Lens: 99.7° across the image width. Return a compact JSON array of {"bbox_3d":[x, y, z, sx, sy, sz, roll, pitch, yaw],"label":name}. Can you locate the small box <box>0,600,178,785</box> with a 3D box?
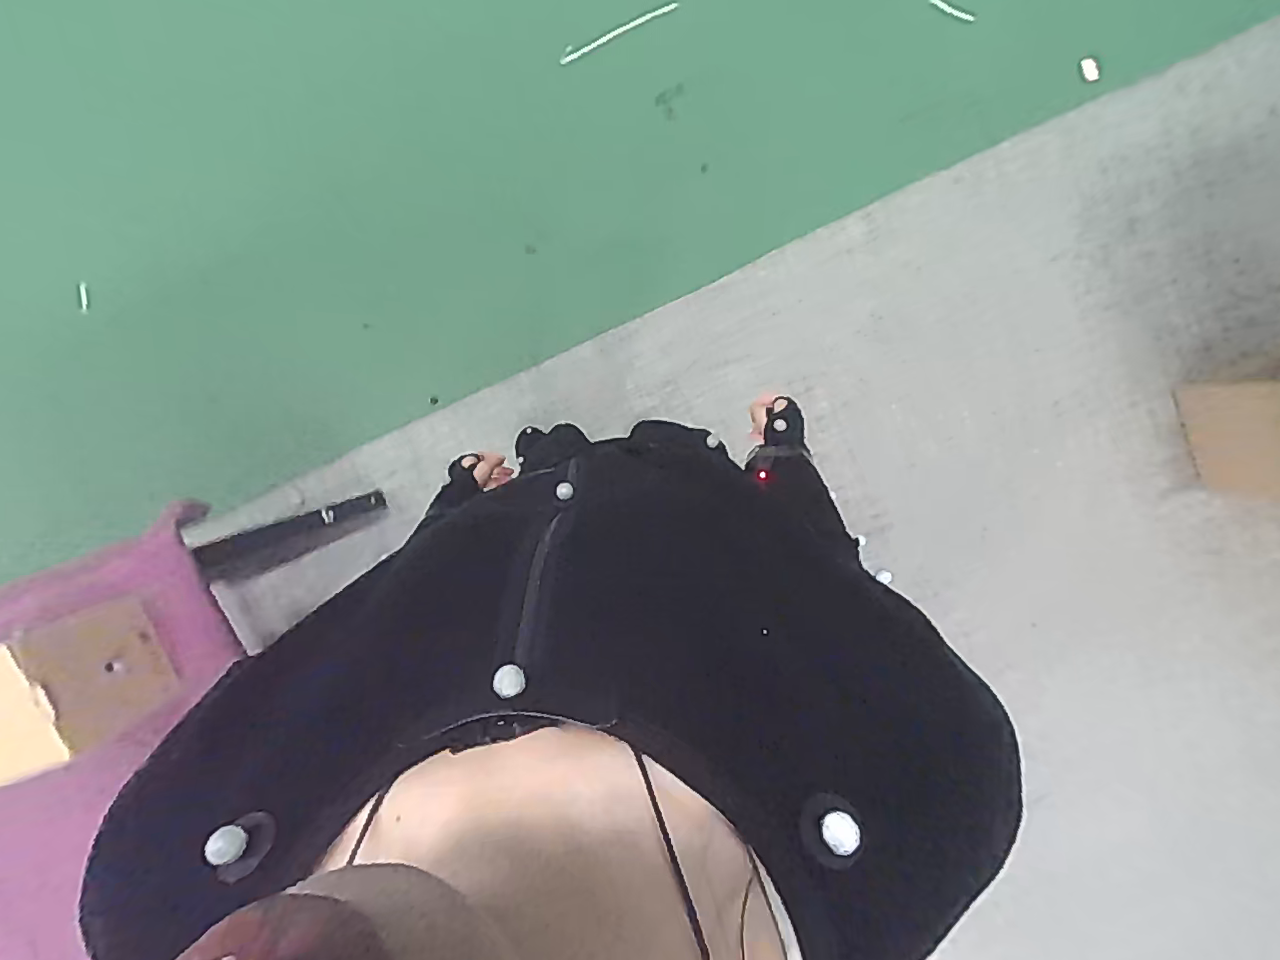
[{"bbox_3d":[-0.811,0.291,0.762,0.179,0.176,0.168,-20,97,3],"label":"small box"}]
